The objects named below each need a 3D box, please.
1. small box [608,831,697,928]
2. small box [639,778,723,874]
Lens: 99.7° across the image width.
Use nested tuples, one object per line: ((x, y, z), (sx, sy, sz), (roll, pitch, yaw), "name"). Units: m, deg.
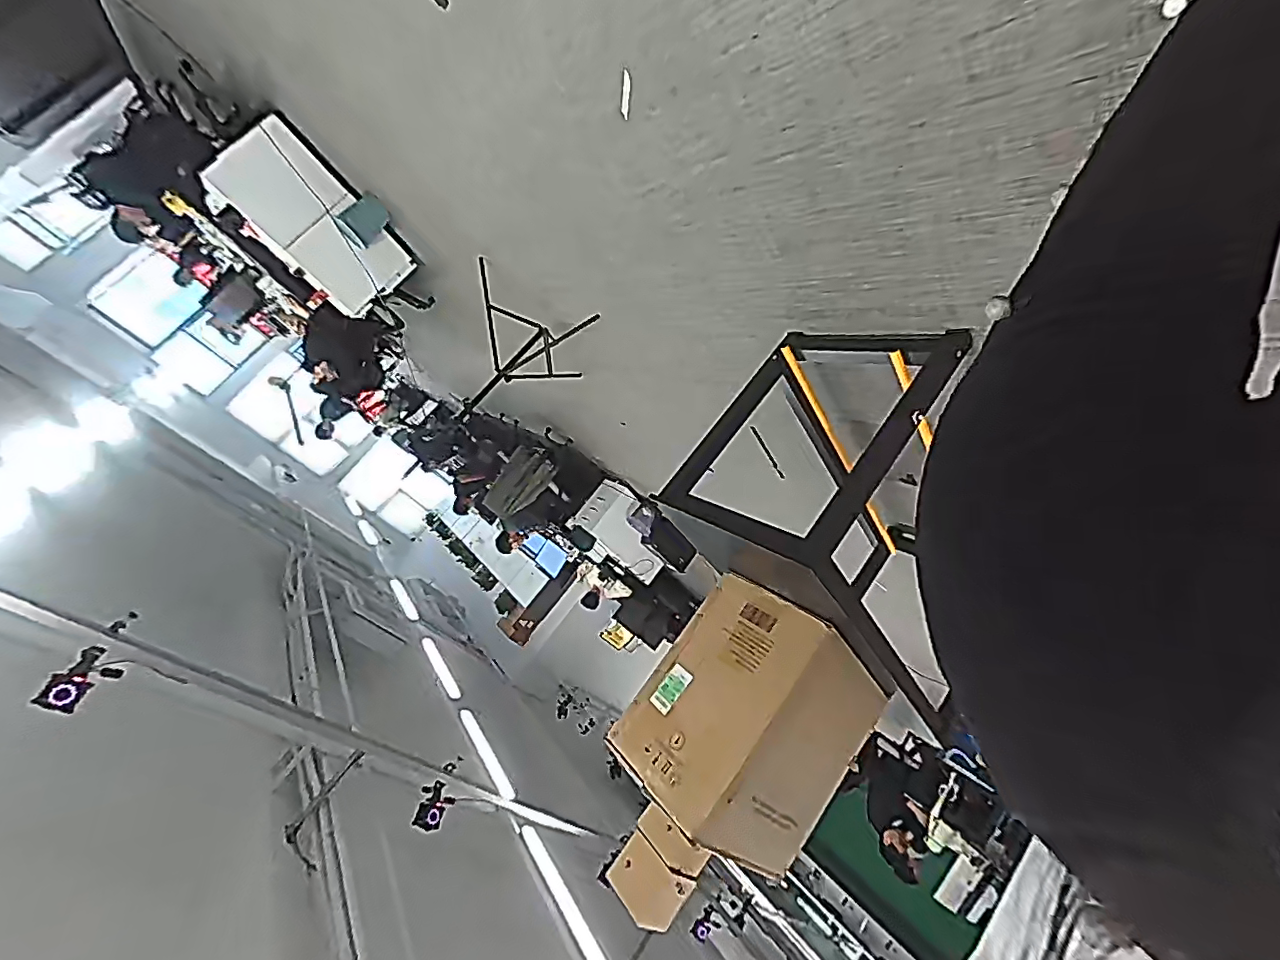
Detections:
((0.042, 1.212, 1.655), (0.179, 0.176, 0.168), (24, 161, 51), "small box")
((0.137, 1.087, 1.704), (0.179, 0.176, 0.168), (23, 159, 53), "small box")
